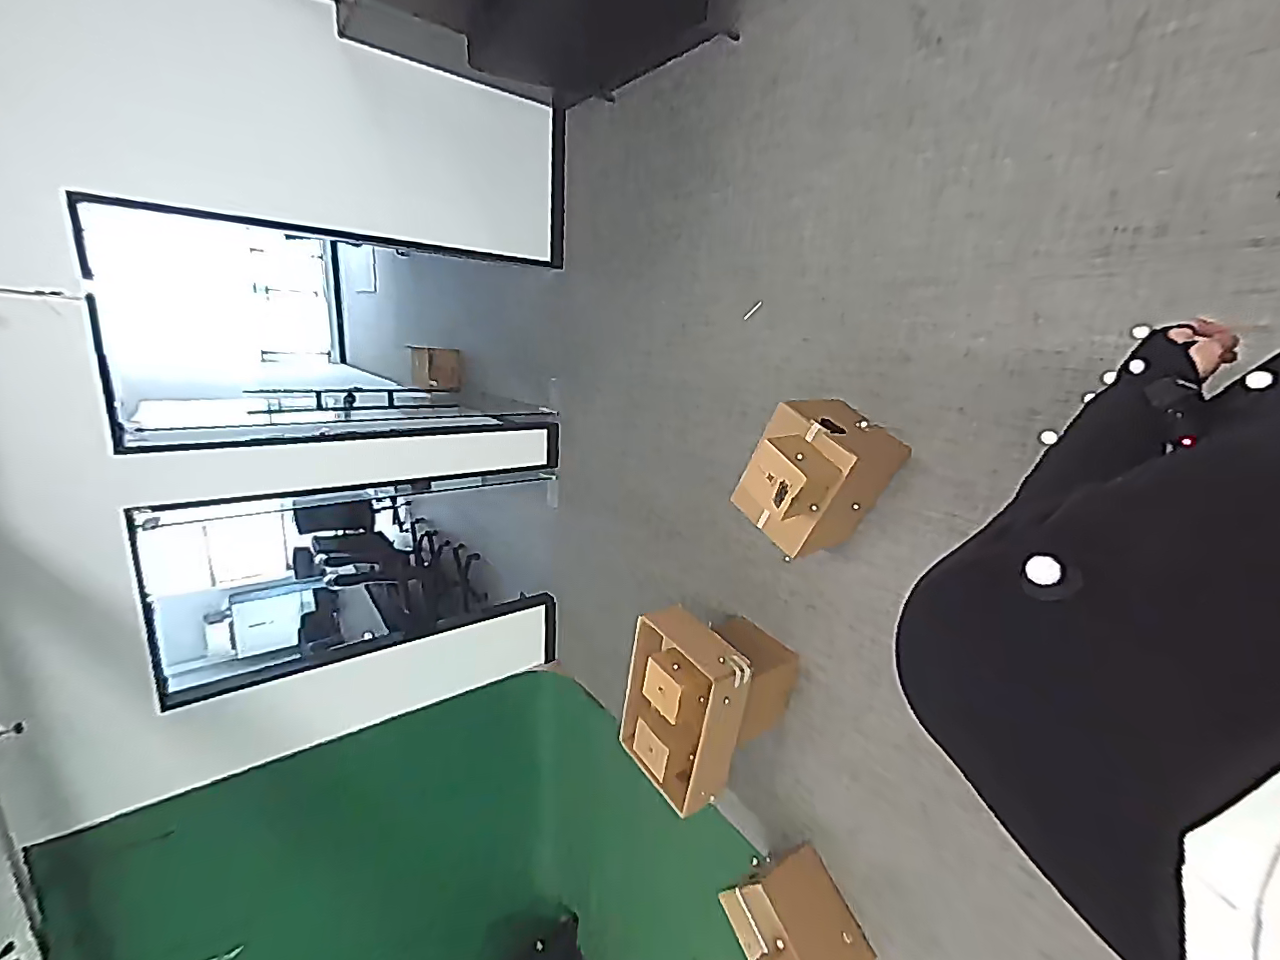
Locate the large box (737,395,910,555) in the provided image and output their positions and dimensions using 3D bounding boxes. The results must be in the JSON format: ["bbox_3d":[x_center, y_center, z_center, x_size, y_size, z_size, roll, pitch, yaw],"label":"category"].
[{"bbox_3d":[0.589,-0.028,1.771,0.320,0.320,0.408,49,133,36],"label":"large box"}]

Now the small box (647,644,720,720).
[{"bbox_3d":[0.151,0.700,1.904,0.179,0.176,0.168,31,120,44],"label":"small box"}]

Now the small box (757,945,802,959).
[{"bbox_3d":[0.477,1.743,1.852,0.168,0.176,0.179,58,136,28],"label":"small box"}]

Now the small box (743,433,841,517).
[{"bbox_3d":[0.440,-0.022,1.560,0.179,0.176,0.168,51,133,32],"label":"small box"}]
